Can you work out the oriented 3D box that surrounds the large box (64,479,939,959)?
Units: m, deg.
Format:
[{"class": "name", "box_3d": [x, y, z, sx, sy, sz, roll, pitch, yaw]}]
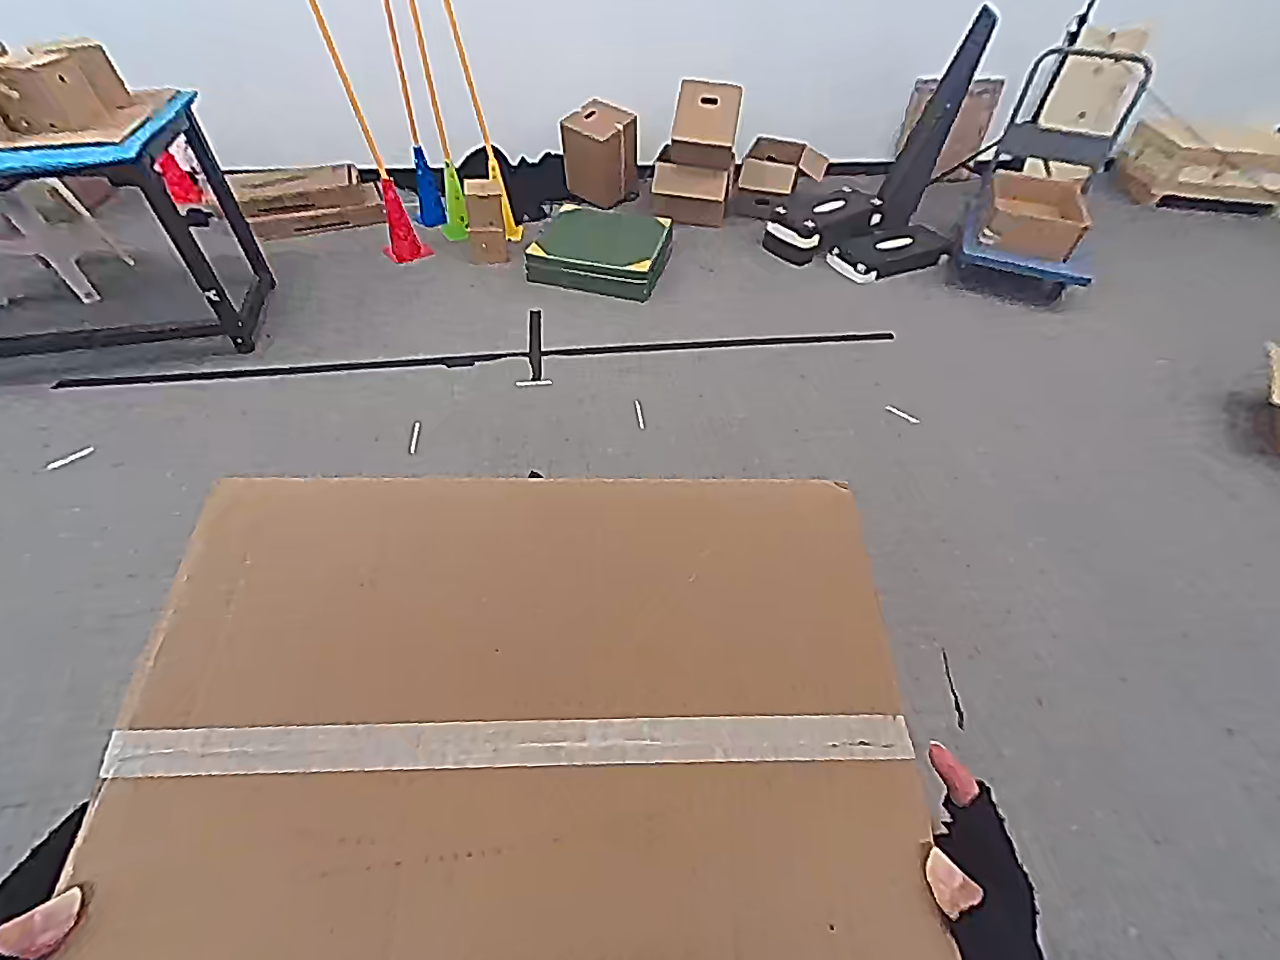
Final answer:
[{"class": "large box", "box_3d": [-0.067, 0.207, 0.423, 0.408, 0.320, 0.320, 0, 62, -3]}]
